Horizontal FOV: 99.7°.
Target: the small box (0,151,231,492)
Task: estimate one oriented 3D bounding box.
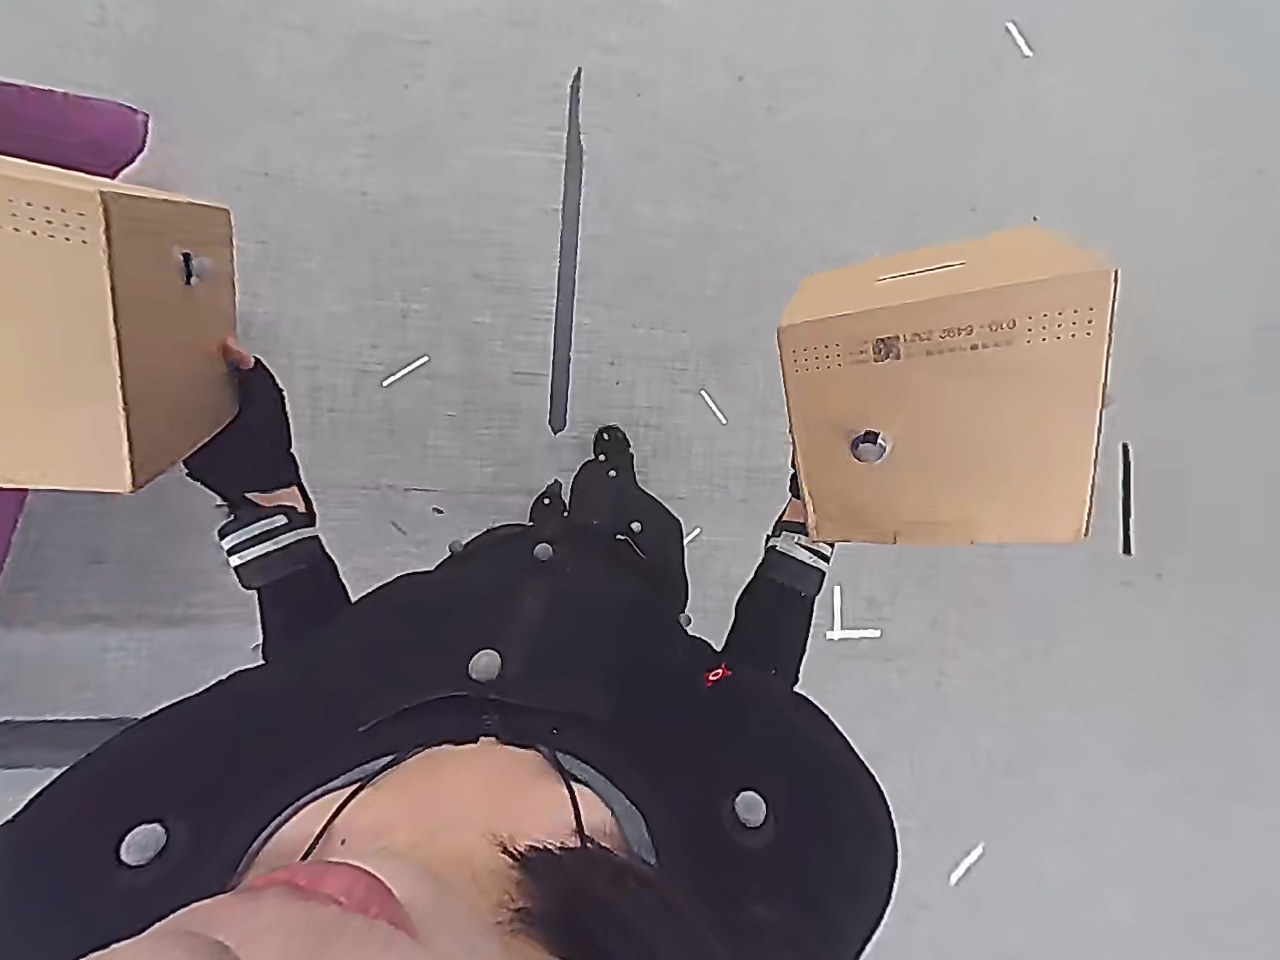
[{"bbox_3d":[-0.376,-0.106,0.324,0.168,0.179,0.176,6,110,-21],"label":"small box"}]

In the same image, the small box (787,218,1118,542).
[{"bbox_3d":[0.207,-0.073,0.385,0.168,0.179,0.176,-2,118,26],"label":"small box"}]
